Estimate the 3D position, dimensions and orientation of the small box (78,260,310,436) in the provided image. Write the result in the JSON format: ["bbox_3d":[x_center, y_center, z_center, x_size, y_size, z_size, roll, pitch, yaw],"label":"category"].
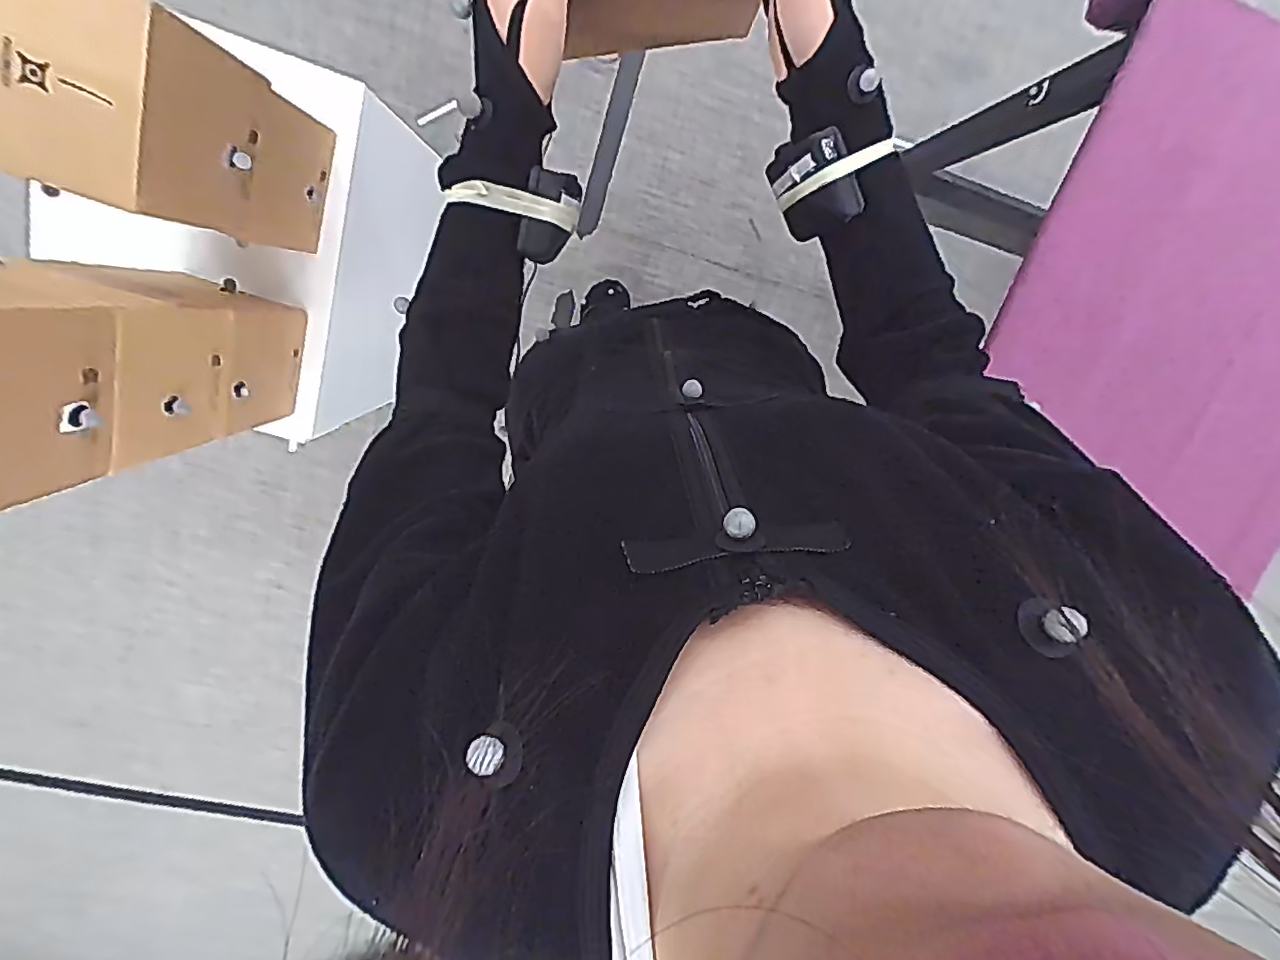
[{"bbox_3d":[-0.584,-0.175,0.721,0.179,0.176,0.168,17,106,-8],"label":"small box"}]

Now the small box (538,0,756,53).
[{"bbox_3d":[0.004,-0.427,0.367,0.179,0.176,0.168,-6,109,1],"label":"small box"}]

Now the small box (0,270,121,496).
[{"bbox_3d":[-0.562,-0.080,0.411,0.179,0.176,0.168,15,107,-9],"label":"small box"}]

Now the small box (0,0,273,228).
[{"bbox_3d":[-0.487,-0.351,0.499,0.179,0.176,0.168,17,106,-10],"label":"small box"}]

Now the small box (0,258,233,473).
[{"bbox_3d":[-0.571,-0.127,0.566,0.179,0.176,0.168,15,106,-8],"label":"small box"}]
